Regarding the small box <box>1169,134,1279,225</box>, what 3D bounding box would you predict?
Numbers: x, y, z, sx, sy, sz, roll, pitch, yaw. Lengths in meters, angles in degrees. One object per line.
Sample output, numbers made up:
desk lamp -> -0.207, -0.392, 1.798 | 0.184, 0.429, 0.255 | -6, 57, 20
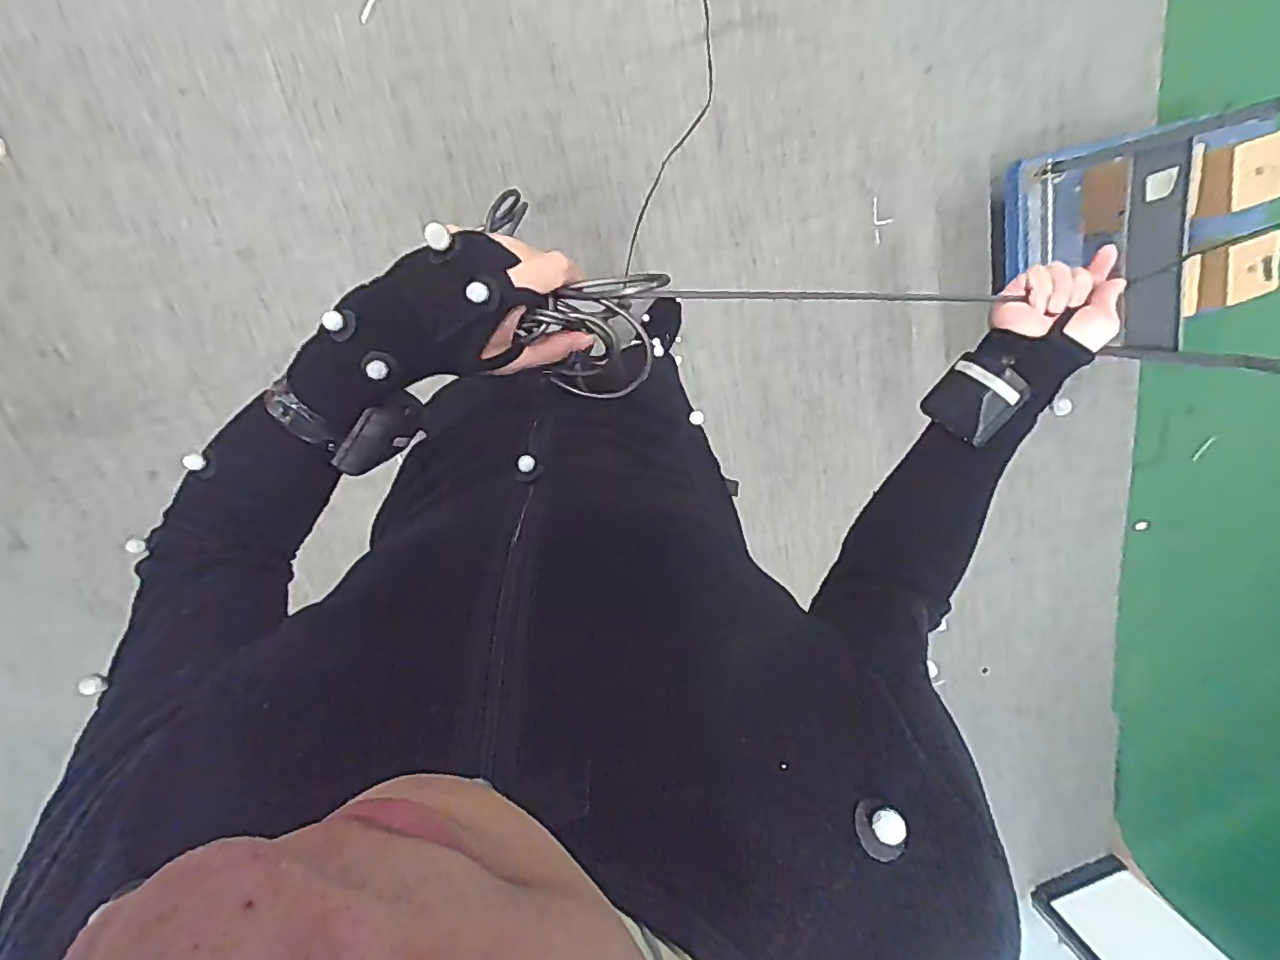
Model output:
small box -> 1.617, -0.823, 1.491 | 0.179, 0.176, 0.168 | -19, 109, -5

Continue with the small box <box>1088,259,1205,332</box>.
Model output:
small box -> 1.433, -0.522, 1.538 | 0.179, 0.176, 0.168 | -15, 108, -6

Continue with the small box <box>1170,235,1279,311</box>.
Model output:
small box -> 1.692, -0.595, 1.568 | 0.179, 0.176, 0.168 | -19, 107, -4
